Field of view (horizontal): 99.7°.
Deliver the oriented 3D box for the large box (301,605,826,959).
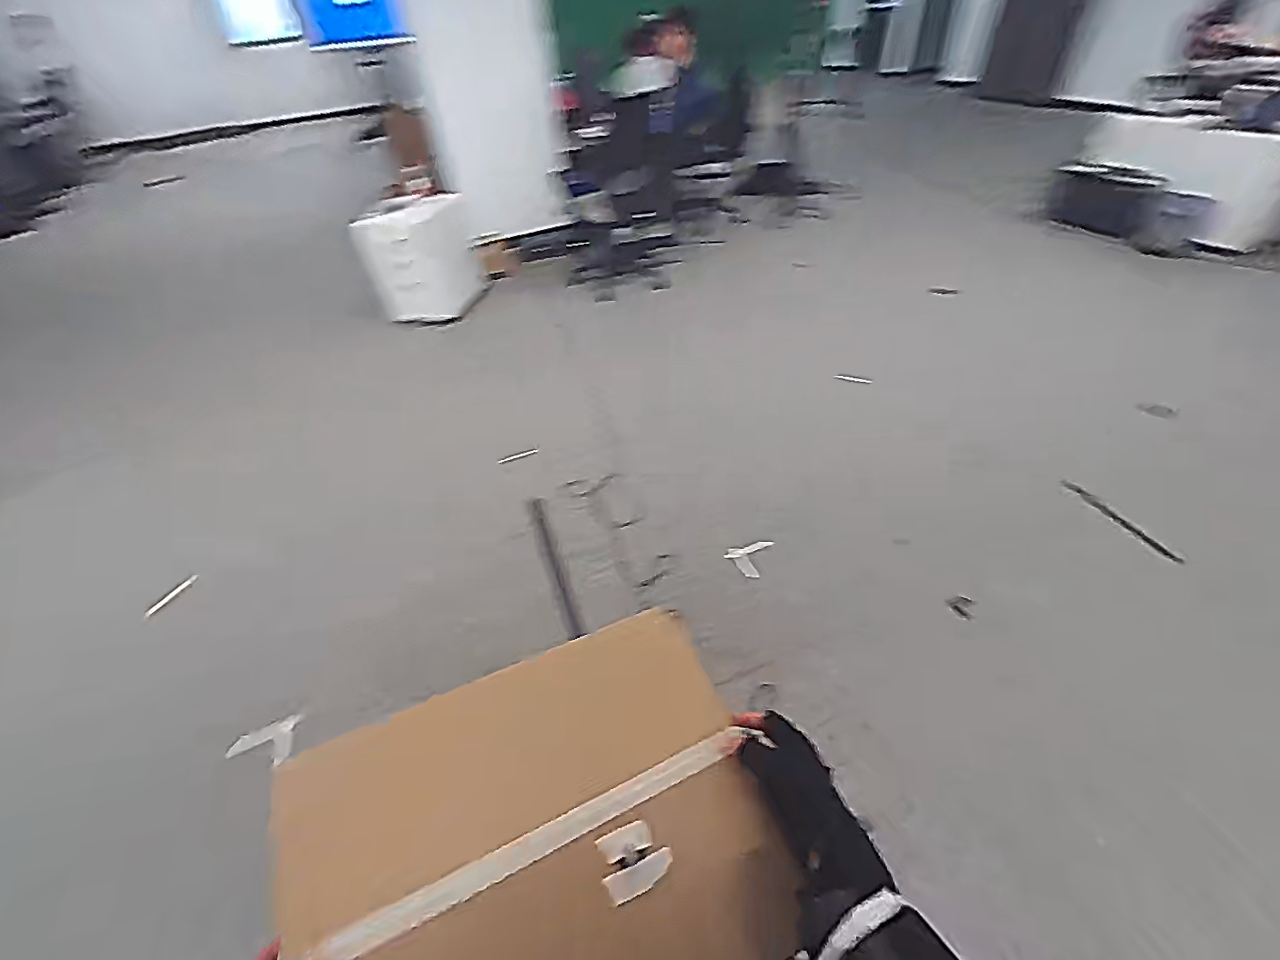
[{"bbox_3d":[-0.087,0.408,0.602,0.408,0.320,0.320,-18,55,-17],"label":"large box"}]
